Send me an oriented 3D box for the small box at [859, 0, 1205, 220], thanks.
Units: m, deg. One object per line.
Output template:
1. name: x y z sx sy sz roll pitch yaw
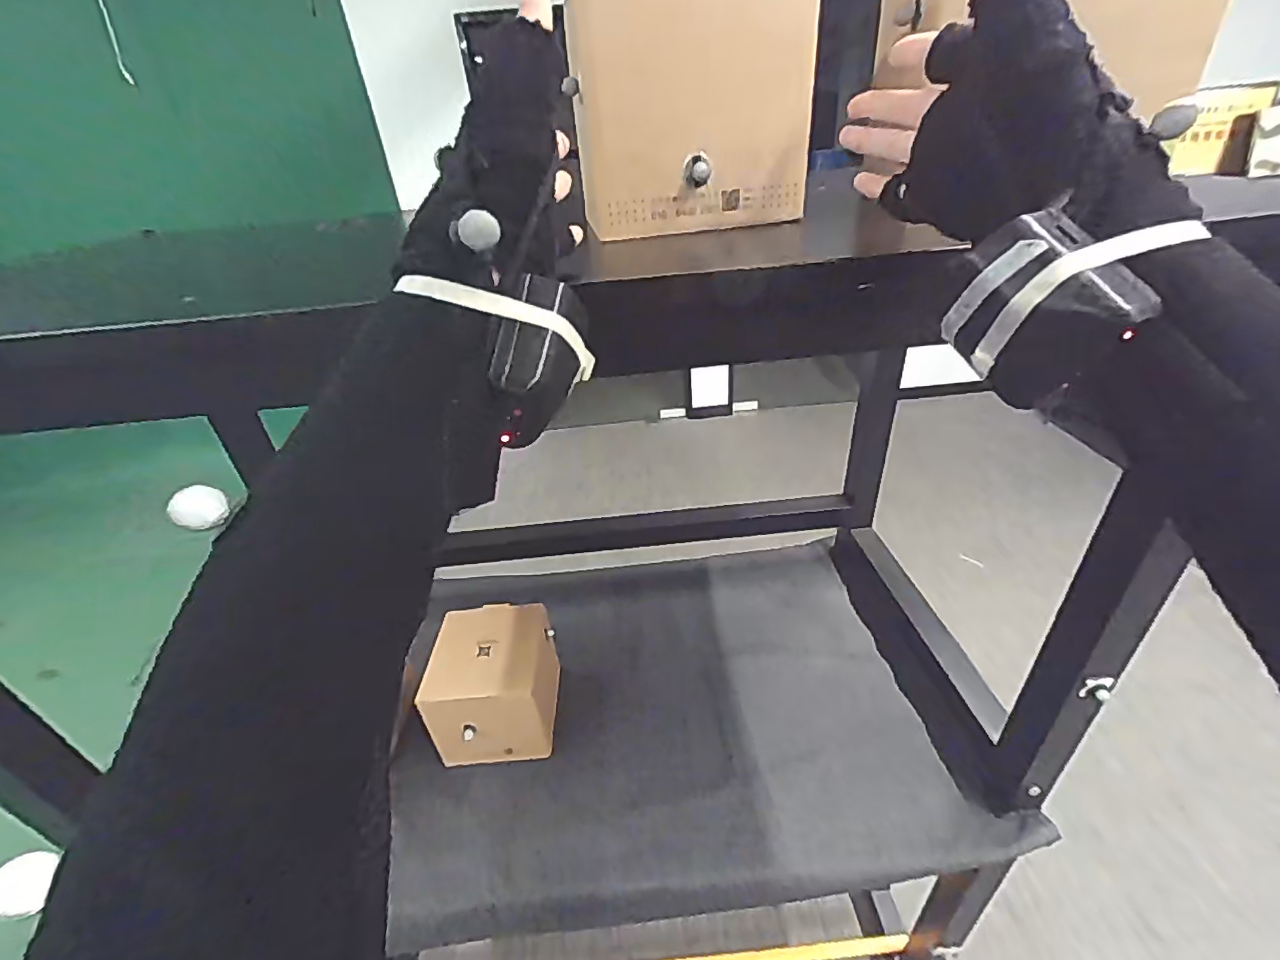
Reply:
1. small box: 0.280 -0.304 0.420 0.168 0.176 0.179 1 33 9

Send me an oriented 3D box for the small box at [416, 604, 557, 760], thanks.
1. small box: -0.232 0.328 0.871 0.168 0.176 0.179 -5 32 0
